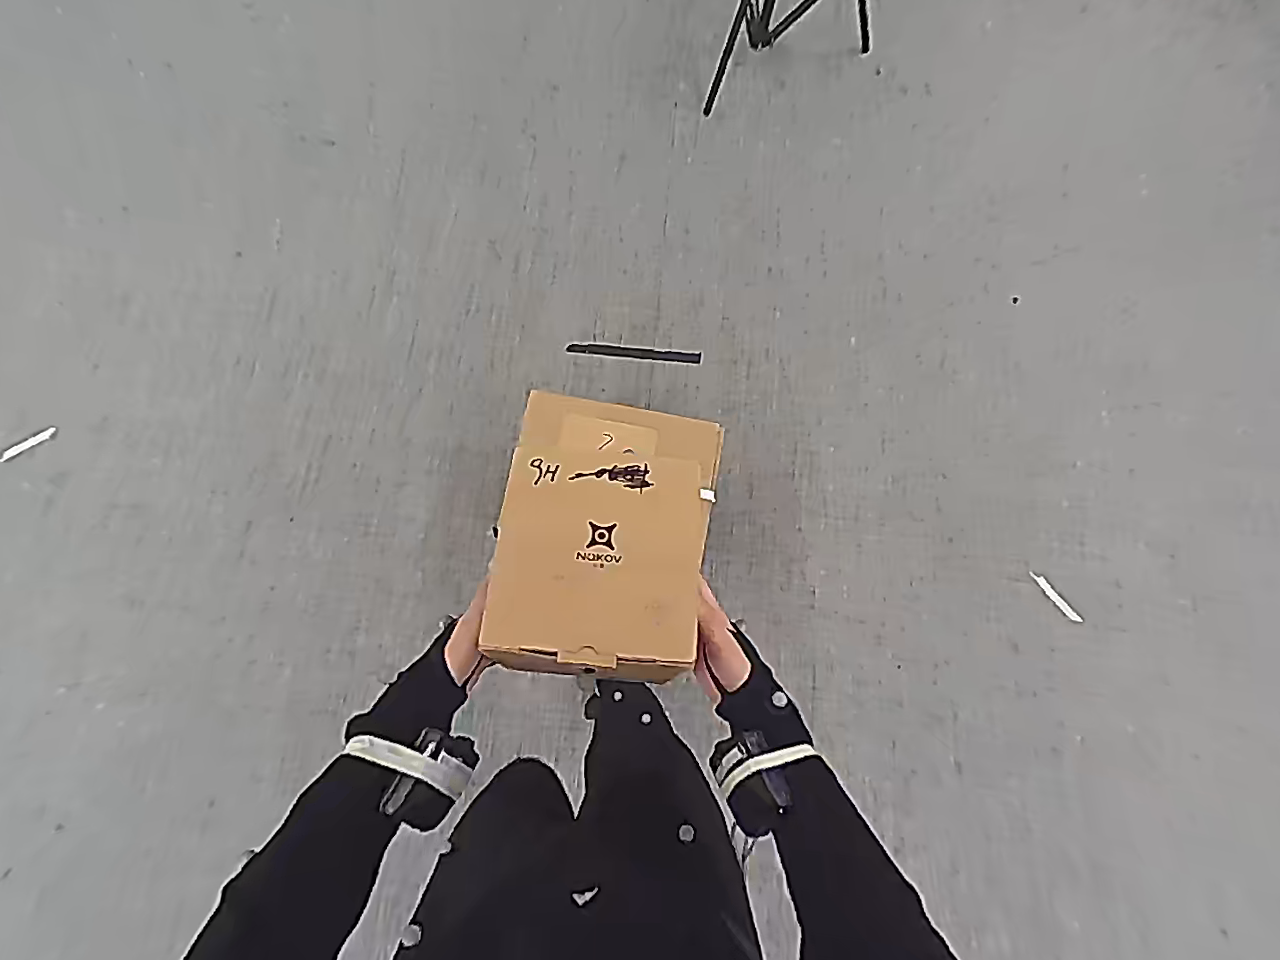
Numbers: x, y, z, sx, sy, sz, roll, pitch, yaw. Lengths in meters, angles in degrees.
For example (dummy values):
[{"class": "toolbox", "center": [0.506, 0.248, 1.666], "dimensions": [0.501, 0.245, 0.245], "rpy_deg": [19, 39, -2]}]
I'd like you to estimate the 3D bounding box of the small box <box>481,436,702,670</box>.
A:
[{"class": "small box", "center": [-0.040, 0.080, 0.515], "dimensions": [0.168, 0.176, 0.179], "rpy_deg": [6, 66, -4]}]
